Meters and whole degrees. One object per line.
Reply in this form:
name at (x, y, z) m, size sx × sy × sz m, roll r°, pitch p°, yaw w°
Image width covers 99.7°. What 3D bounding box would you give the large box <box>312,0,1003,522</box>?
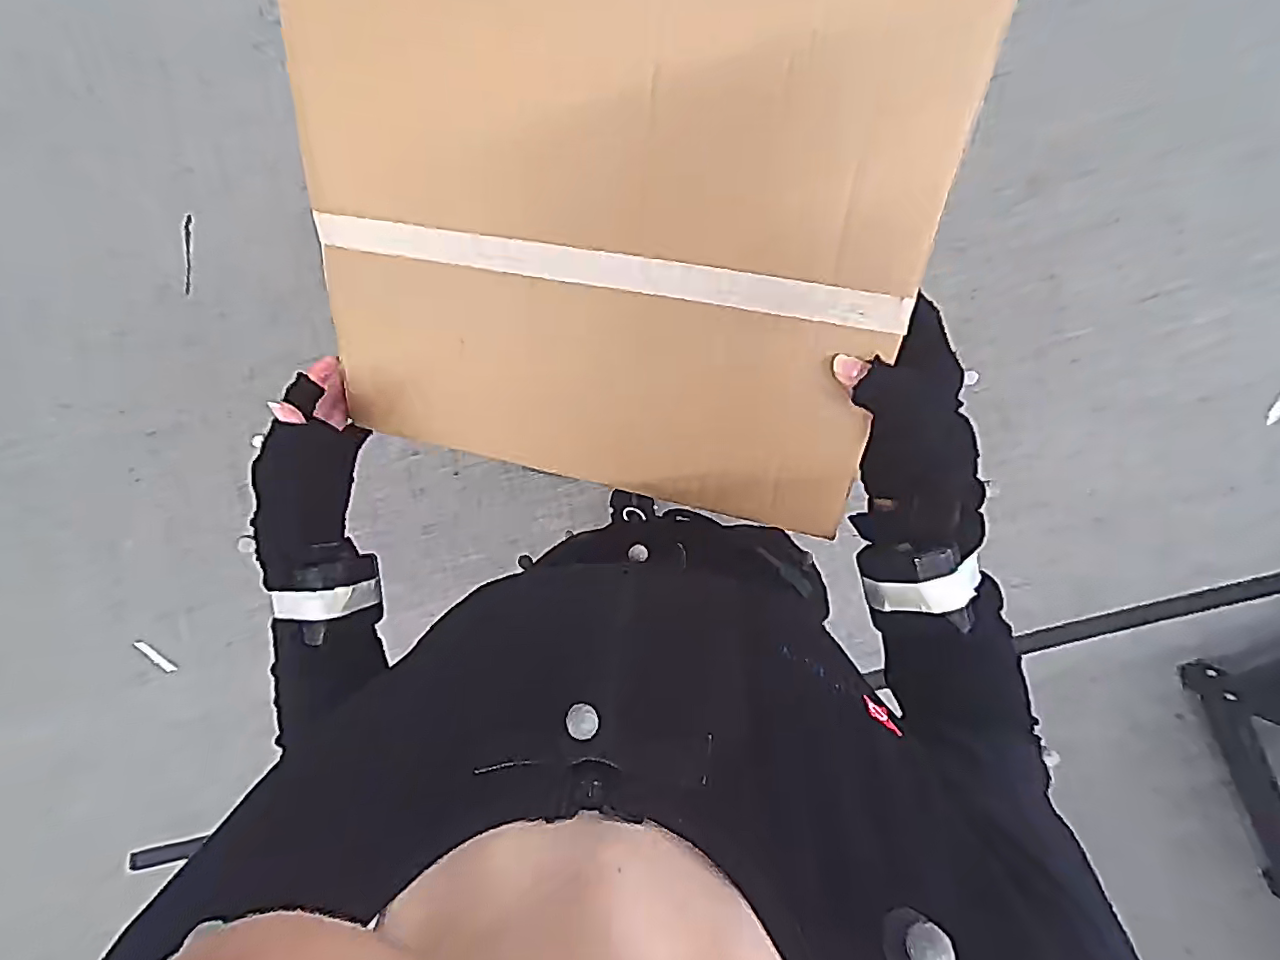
large box at (0.007, -0.207, 0.491) m, size 0.408 × 0.320 × 0.320 m, roll 14°, pitch 120°, yaw 11°
